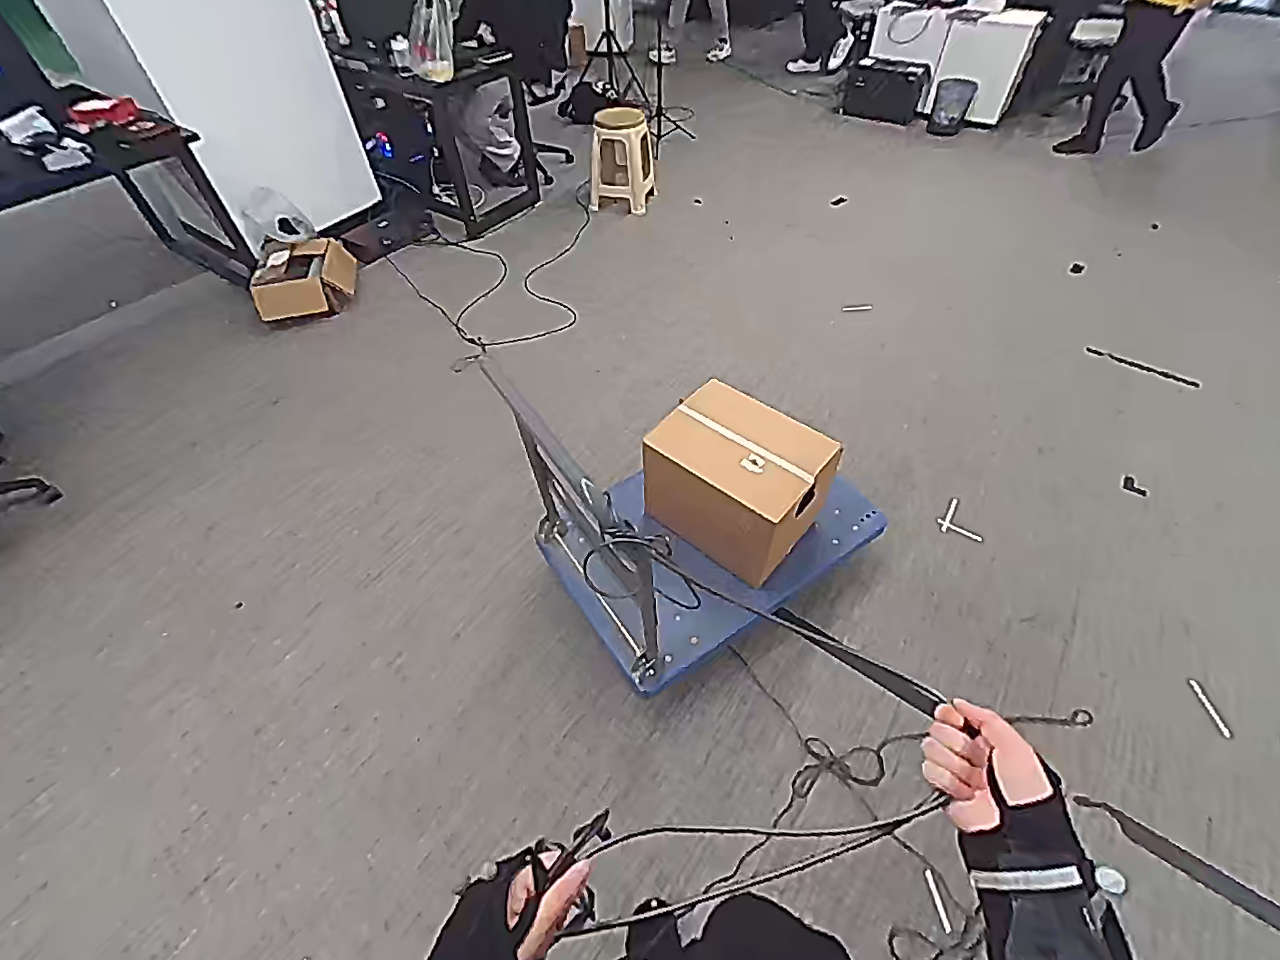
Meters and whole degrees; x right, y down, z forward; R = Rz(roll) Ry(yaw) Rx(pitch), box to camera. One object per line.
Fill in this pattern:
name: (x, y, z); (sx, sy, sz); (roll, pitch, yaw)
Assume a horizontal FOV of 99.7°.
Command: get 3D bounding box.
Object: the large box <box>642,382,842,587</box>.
large box: (0.251, 0.008, 1.458); (0.408, 0.320, 0.320); (34, 60, 25)
